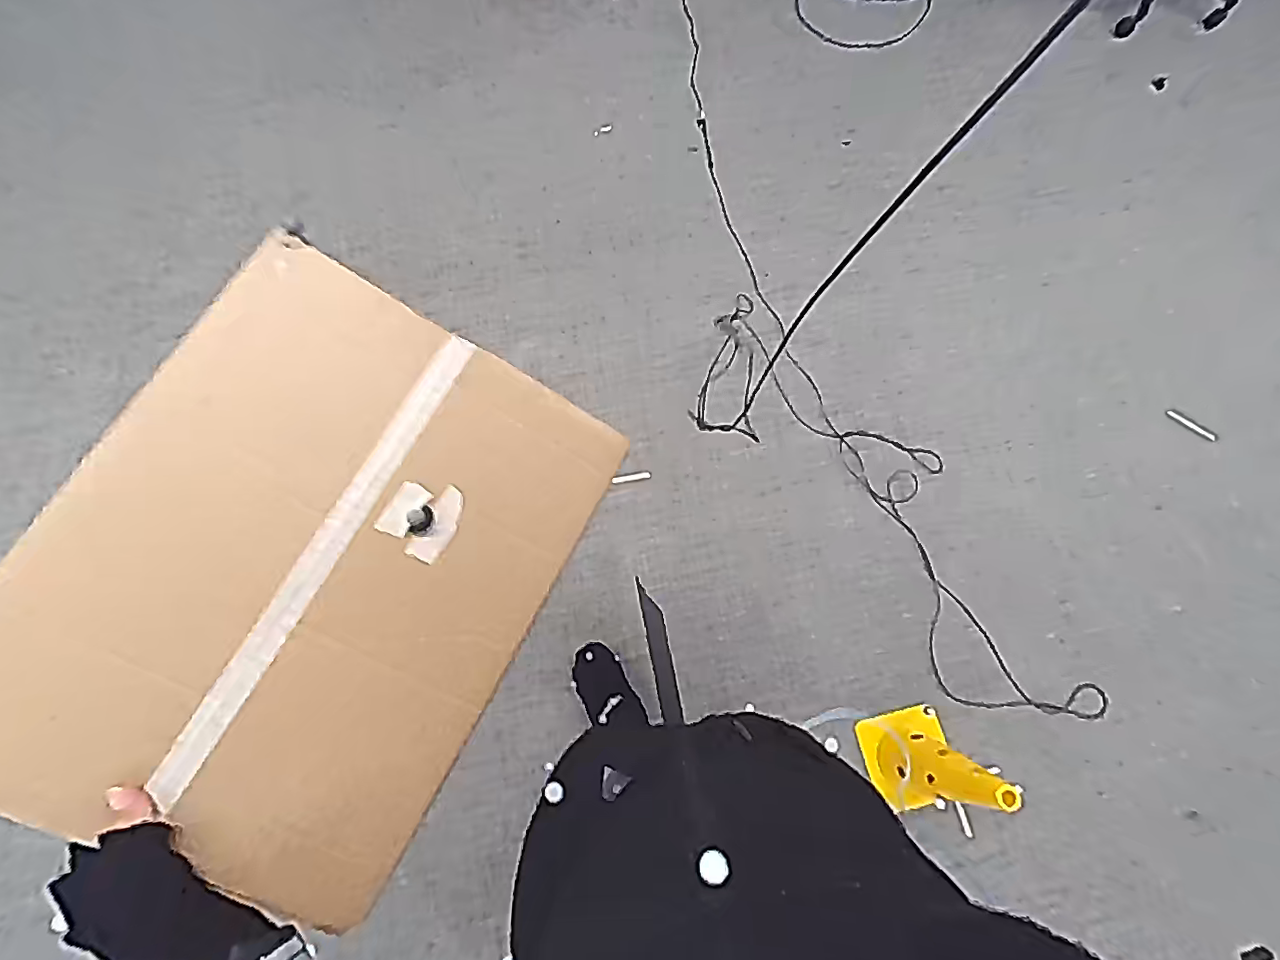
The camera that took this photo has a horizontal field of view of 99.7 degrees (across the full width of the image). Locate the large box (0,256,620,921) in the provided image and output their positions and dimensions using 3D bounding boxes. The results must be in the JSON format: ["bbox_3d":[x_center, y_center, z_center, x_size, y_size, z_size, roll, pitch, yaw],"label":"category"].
[{"bbox_3d":[-0.269,0.087,0.543,0.320,0.320,0.408,31,76,-9],"label":"large box"}]
